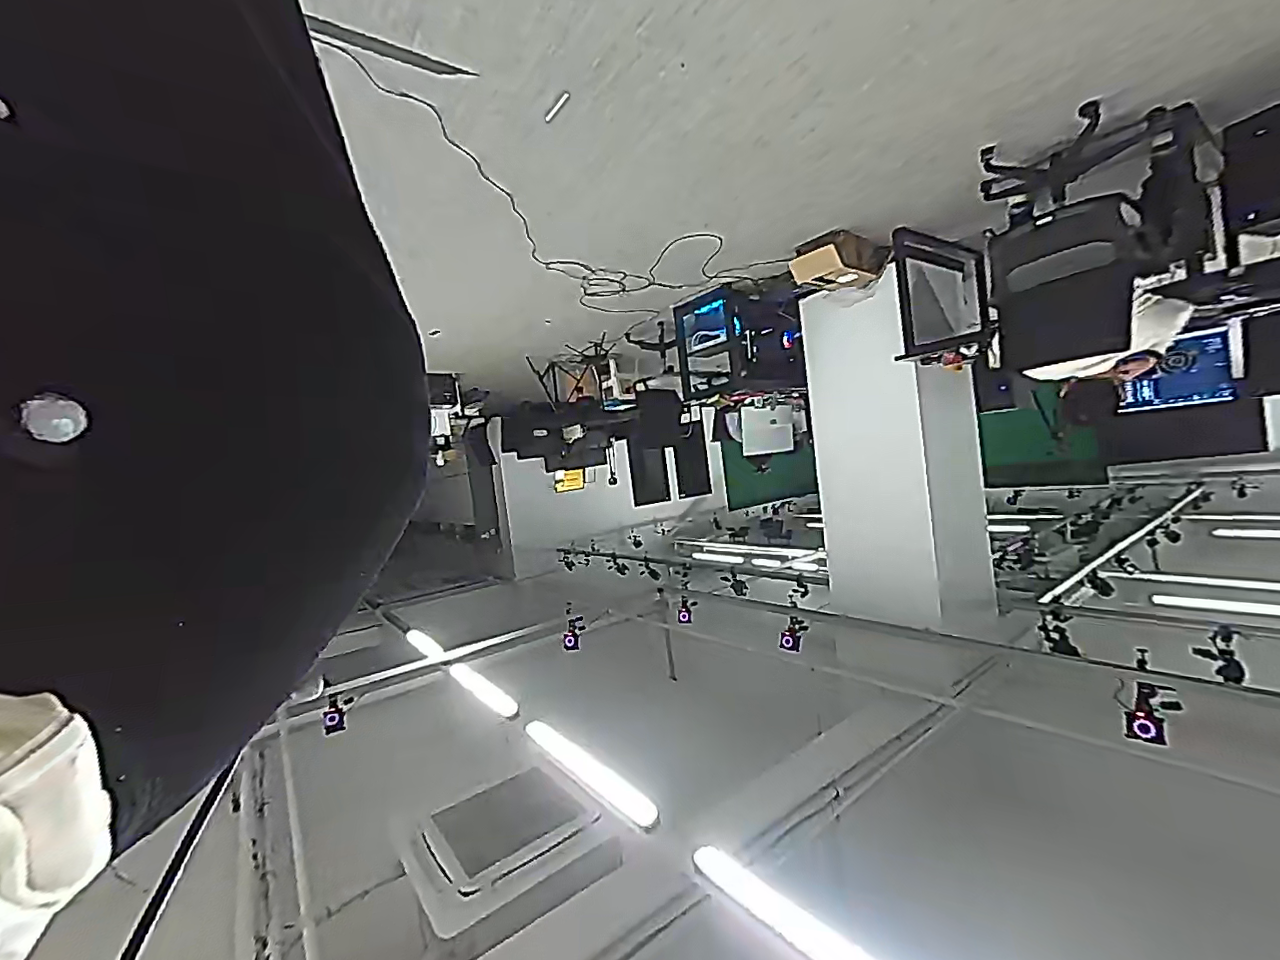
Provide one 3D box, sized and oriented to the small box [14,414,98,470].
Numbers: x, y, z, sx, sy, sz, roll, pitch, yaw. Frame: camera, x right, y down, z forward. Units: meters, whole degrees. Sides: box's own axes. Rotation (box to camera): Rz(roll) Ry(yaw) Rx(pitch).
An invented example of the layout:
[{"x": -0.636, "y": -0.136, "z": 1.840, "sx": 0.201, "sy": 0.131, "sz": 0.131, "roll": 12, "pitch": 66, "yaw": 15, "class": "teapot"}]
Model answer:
[{"x": -2.075, "y": -0.137, "z": 1.923, "sx": 0.179, "sy": 0.176, "sz": 0.168, "roll": -10, "pitch": -178, "yaw": -38, "class": "small box"}]
